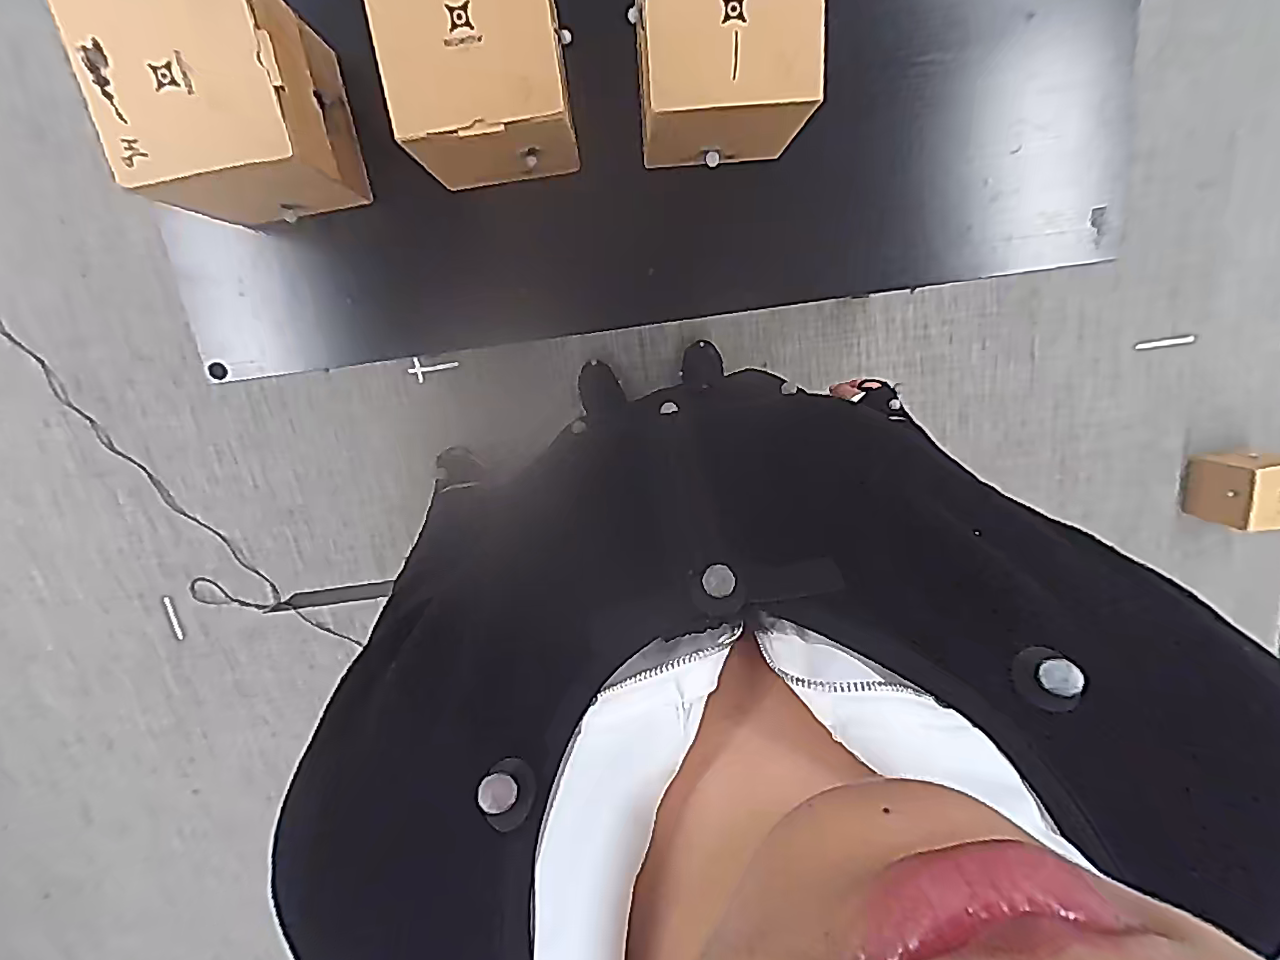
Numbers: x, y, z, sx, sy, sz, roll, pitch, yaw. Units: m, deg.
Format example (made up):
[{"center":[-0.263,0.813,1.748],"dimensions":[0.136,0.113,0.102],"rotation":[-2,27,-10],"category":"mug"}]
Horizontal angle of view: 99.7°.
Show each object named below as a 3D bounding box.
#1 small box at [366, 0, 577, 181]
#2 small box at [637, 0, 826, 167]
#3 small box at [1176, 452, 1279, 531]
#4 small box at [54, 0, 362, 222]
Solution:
[{"center":[-0.164,-0.435,0.568],"dimensions":[0.168,0.176,0.179],"rotation":[-9,103,0],"category":"small box"},{"center":[0.085,-0.456,0.569],"dimensions":[0.168,0.176,0.179],"rotation":[-4,104,-1],"category":"small box"},{"center":[1.637,0.024,1.483],"dimensions":[0.168,0.176,0.179],"rotation":[-8,104,1],"category":"small box"},{"center":[-0.422,-0.389,0.570],"dimensions":[0.179,0.176,0.168],"rotation":[-11,103,-1],"category":"small box"}]
